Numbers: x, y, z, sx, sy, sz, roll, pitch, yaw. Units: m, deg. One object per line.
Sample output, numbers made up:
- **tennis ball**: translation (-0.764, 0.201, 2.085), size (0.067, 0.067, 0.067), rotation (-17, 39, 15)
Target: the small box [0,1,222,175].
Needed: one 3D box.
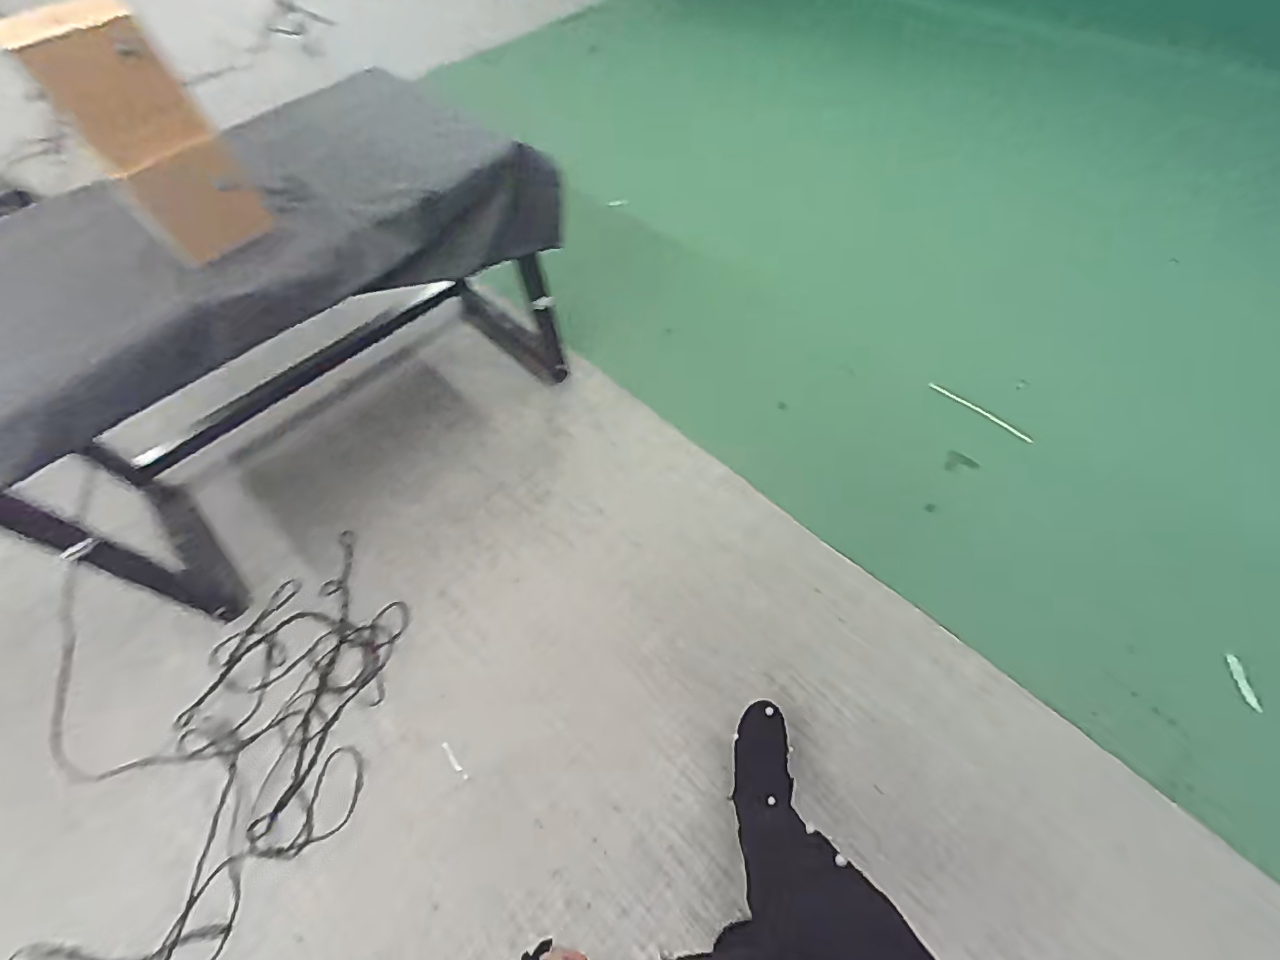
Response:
- **small box**: translation (-0.836, -0.625, 0.868), size (0.179, 0.176, 0.168), rotation (-40, 62, -20)
